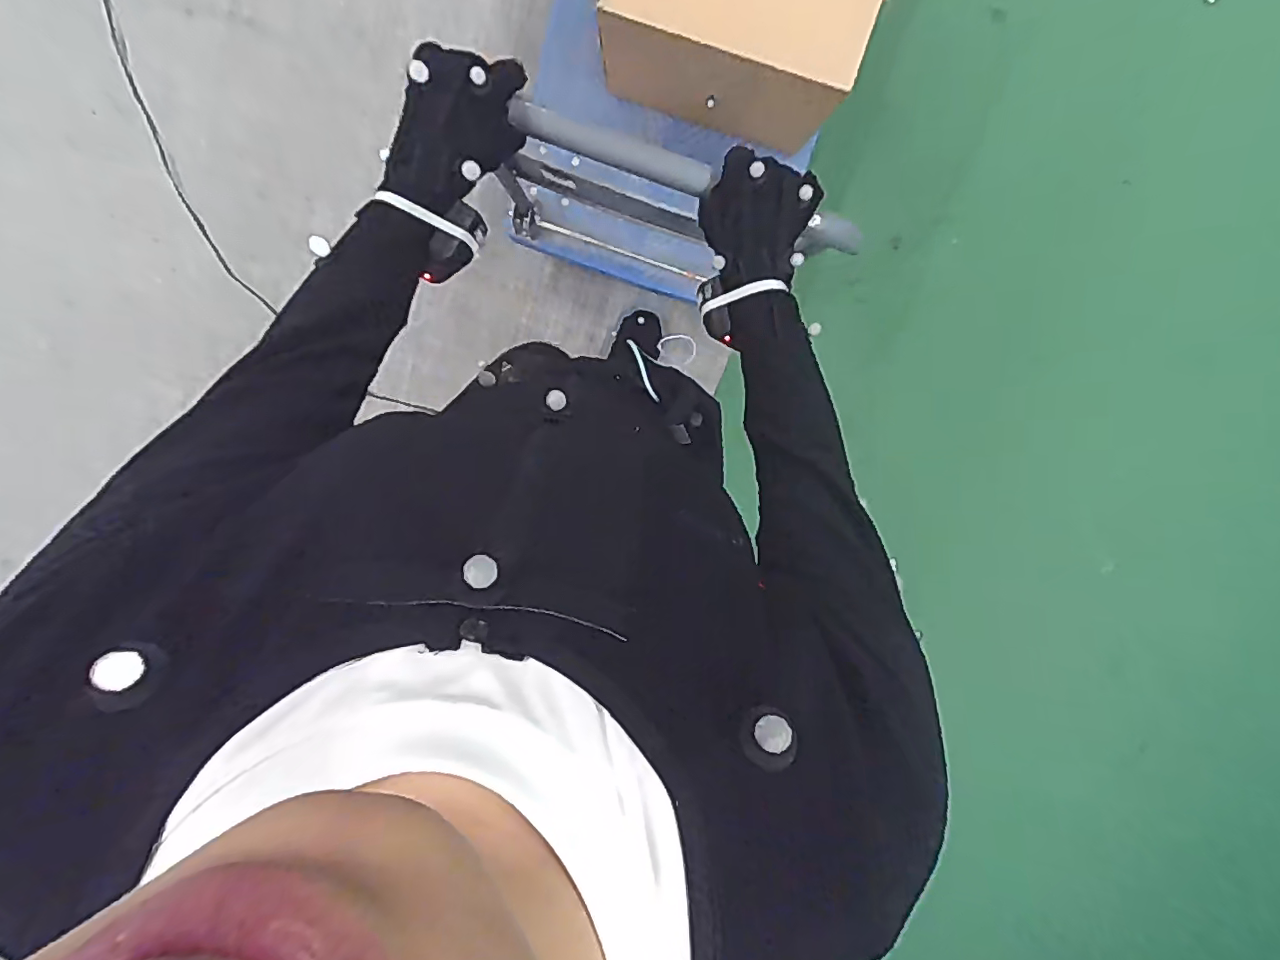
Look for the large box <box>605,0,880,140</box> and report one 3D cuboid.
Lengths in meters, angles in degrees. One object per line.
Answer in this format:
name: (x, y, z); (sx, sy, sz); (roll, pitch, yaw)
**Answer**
large box: (0.181, -0.841, 0.925); (0.408, 0.320, 0.320); (15, 105, -3)
